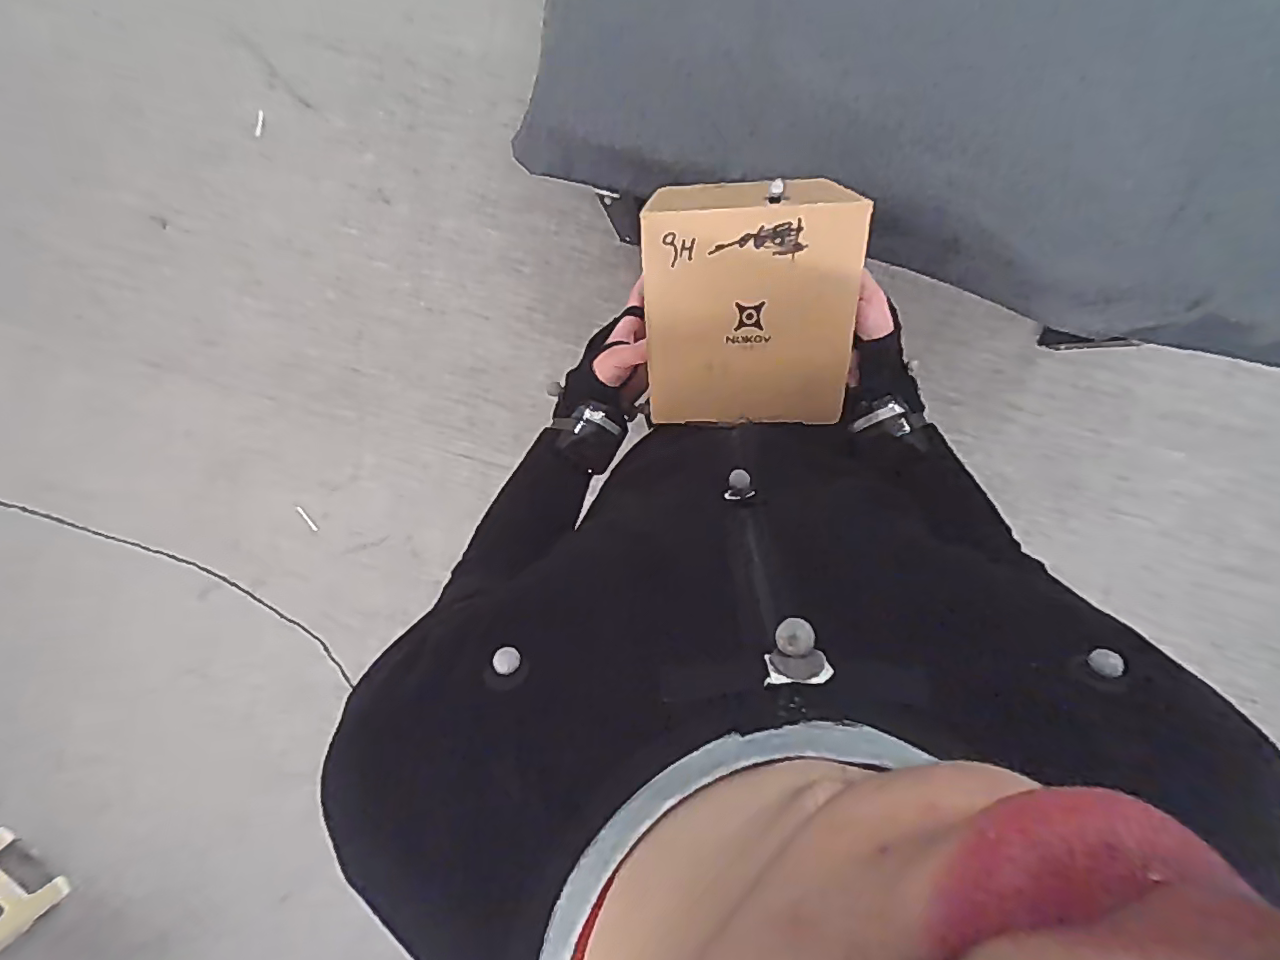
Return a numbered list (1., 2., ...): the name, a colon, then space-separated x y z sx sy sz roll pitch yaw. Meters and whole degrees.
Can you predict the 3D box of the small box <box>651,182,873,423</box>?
1. small box: 0.101 -0.170 0.511 0.168 0.176 0.179 1 125 6
